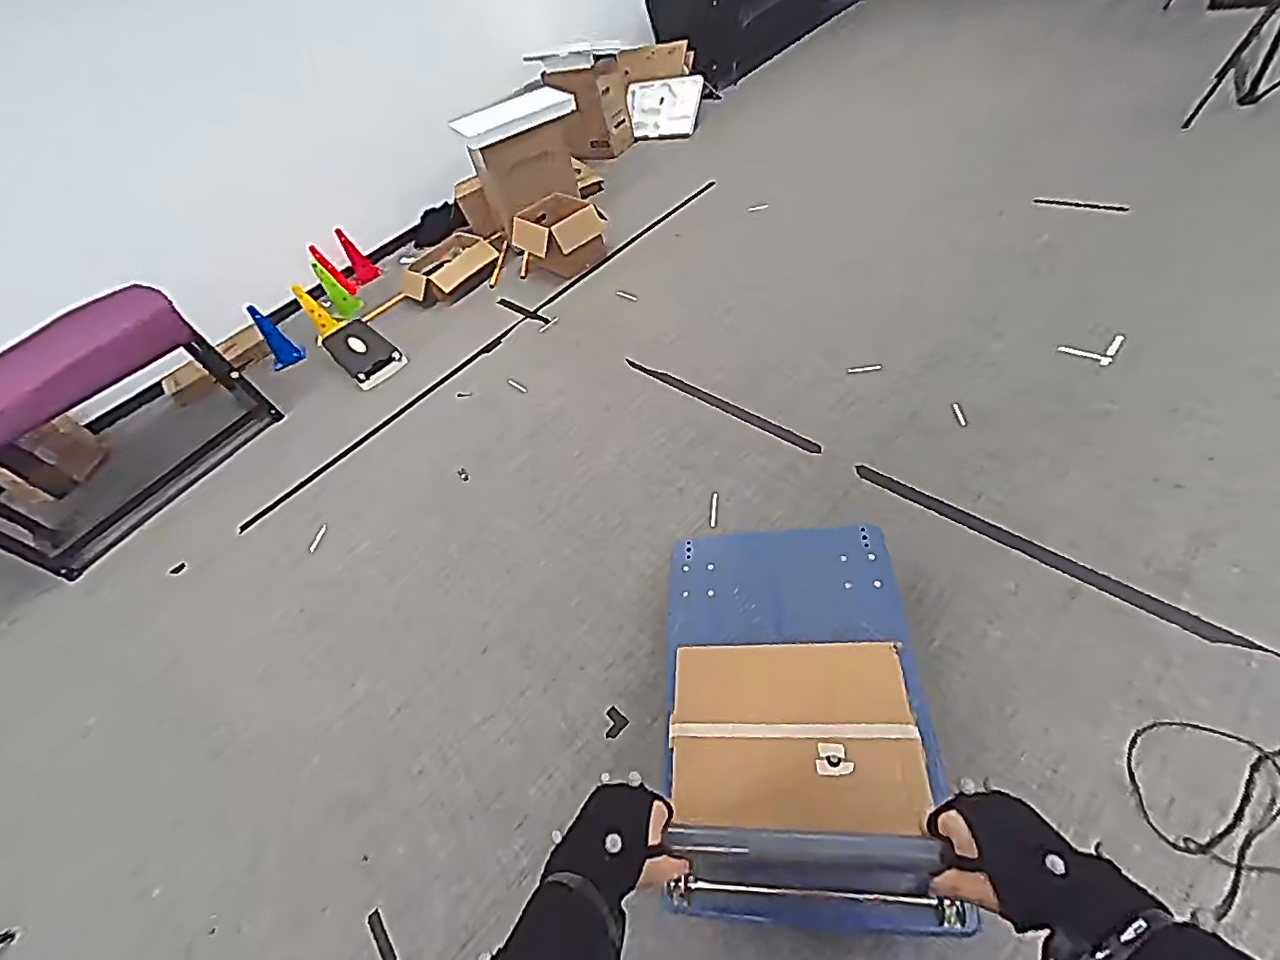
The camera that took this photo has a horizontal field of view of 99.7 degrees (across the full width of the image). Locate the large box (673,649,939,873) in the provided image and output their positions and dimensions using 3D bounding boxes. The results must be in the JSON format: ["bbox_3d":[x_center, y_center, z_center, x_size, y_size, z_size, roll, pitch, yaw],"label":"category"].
[{"bbox_3d":[0.287,0.537,1.032,0.408,0.320,0.320,-5,50,13],"label":"large box"}]
